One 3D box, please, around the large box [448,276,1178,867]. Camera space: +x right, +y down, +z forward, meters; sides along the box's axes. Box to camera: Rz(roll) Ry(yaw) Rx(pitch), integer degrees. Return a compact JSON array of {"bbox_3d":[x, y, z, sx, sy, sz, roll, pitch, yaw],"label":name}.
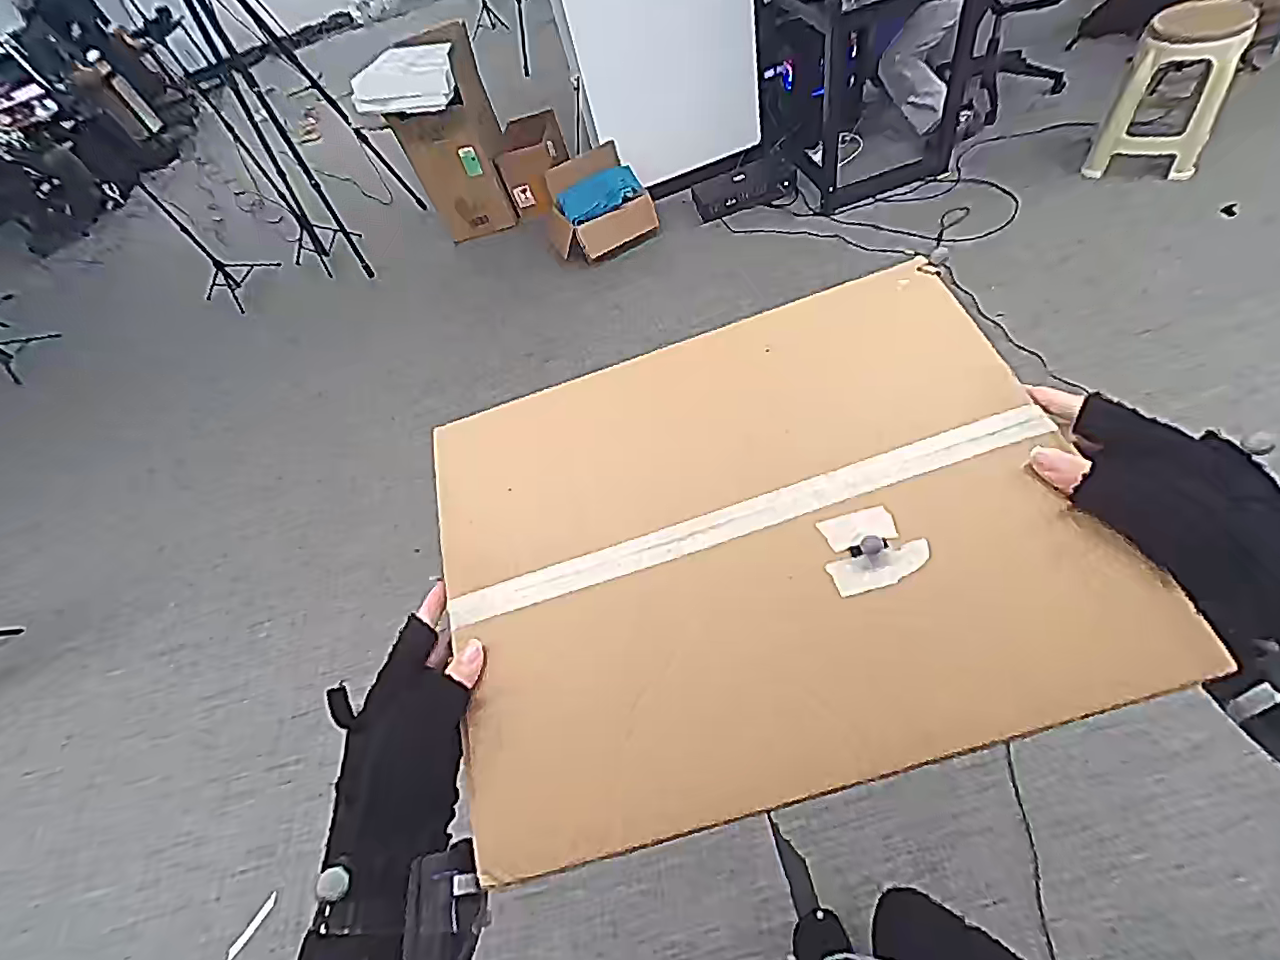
[{"bbox_3d":[0.094,0.093,0.500,0.408,0.320,0.320,-19,63,3],"label":"large box"}]
